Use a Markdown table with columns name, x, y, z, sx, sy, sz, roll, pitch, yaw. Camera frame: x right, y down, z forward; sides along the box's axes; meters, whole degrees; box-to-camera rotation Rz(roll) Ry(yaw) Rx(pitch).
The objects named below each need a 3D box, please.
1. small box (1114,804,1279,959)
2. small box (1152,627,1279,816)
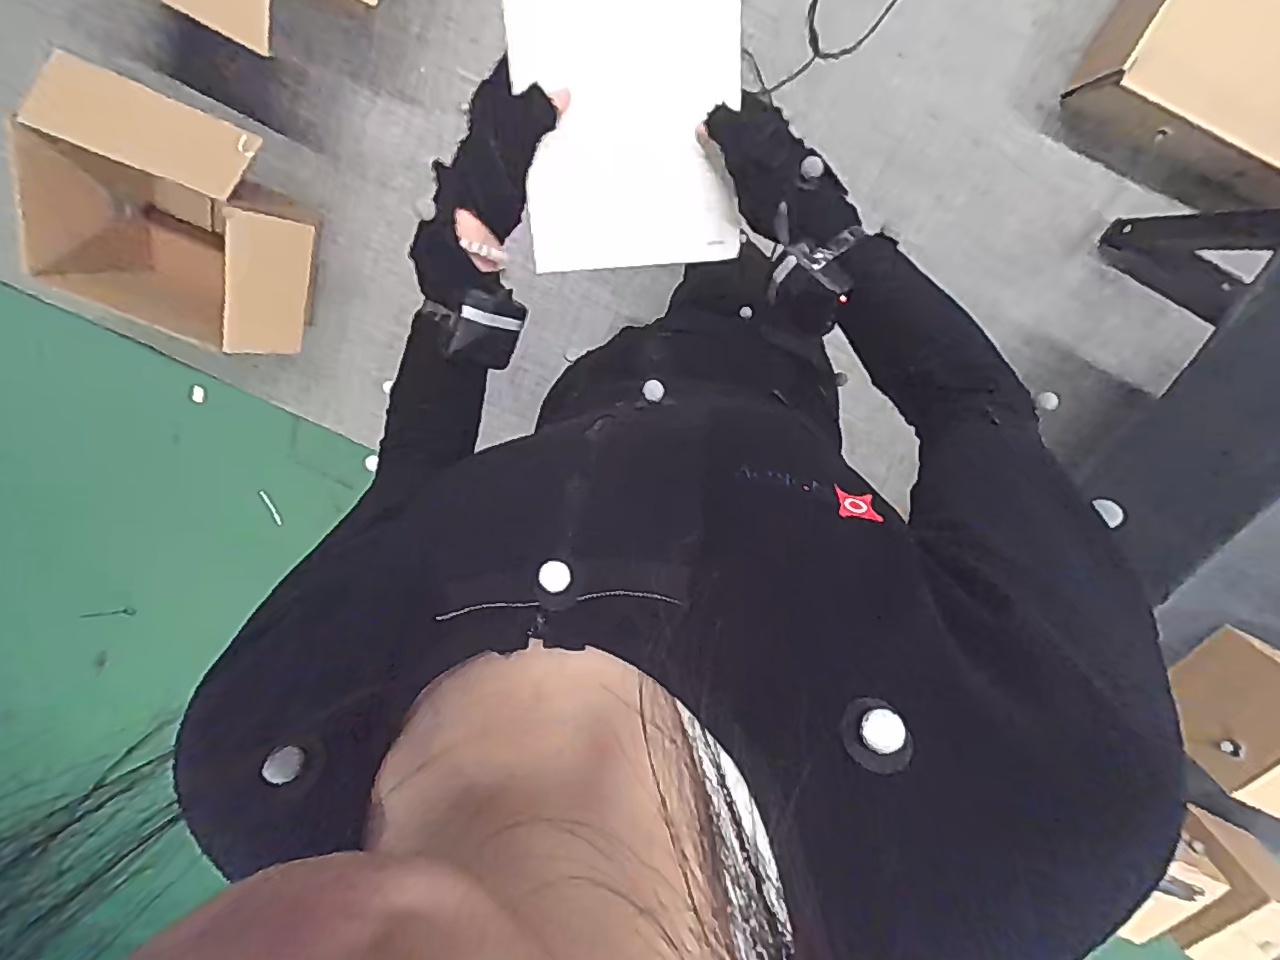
| name | x | y | z | sx | sy | sz | roll | pitch | yaw |
| --- | --- | --- | --- | --- | --- | --- | --- | --- | --- |
| small box | 0.979 | 0.690 | 0.911 | 0.179 | 0.176 | 0.168 | 28 | 112 | -8 |
| small box | 0.896 | 0.347 | 0.766 | 0.168 | 0.176 | 0.179 | 25 | 112 | -8 |
